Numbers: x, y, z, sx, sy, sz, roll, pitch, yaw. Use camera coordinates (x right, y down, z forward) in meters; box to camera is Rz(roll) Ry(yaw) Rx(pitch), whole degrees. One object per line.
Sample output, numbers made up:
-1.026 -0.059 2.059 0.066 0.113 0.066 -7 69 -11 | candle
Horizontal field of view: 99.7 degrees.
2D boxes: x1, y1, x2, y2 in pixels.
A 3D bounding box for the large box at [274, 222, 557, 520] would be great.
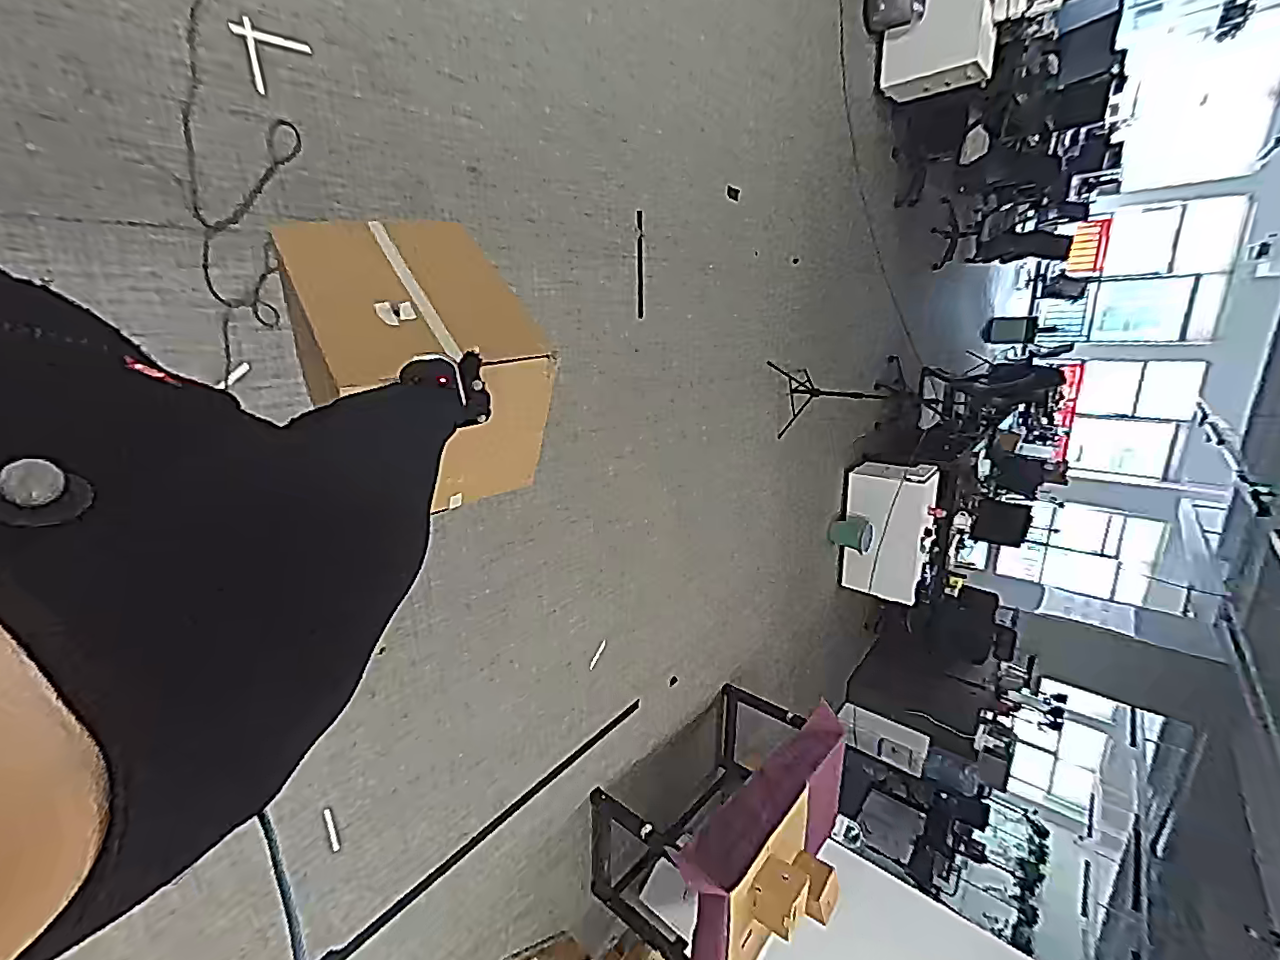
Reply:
-0.400 -0.203 0.960 0.320 0.408 0.320 -18 149 -33 | large box
